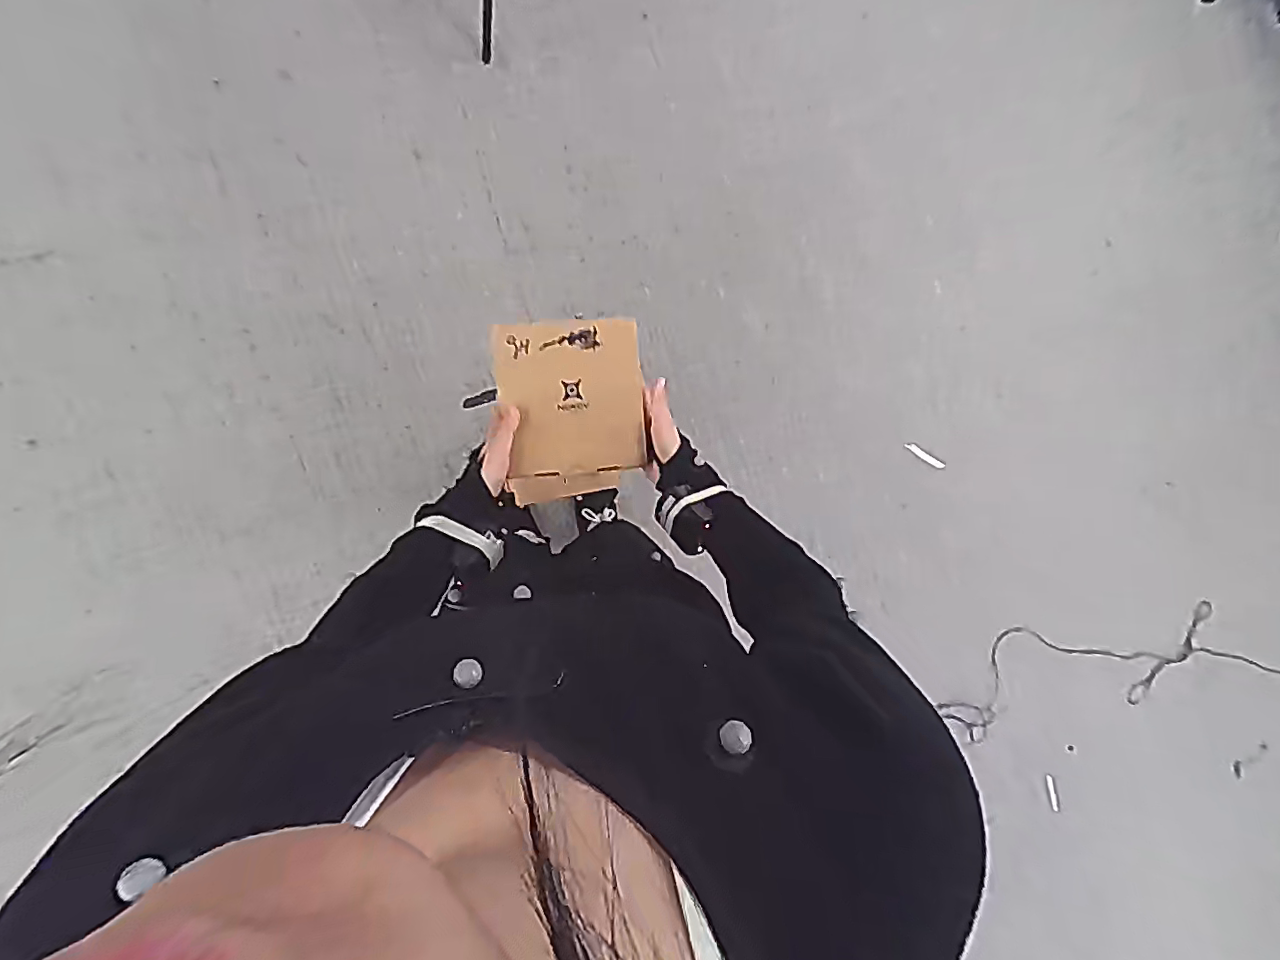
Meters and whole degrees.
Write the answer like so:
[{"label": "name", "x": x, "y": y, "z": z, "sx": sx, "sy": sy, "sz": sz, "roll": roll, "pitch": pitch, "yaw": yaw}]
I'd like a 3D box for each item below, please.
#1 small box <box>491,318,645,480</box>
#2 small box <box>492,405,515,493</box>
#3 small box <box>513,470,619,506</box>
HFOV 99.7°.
[{"label": "small box", "x": -0.091, "y": -0.105, "z": 0.696, "sx": 0.168, "sy": 0.176, "sz": 0.179, "roll": -6, "pitch": 100, "yaw": -8}, {"label": "small box", "x": -0.189, "y": -0.072, "z": 1.077, "sx": 0.179, "sy": 0.176, "sz": 0.168, "roll": -10, "pitch": 96, "yaw": -12}, {"label": "small box", "x": -0.141, "y": -0.062, "z": 0.920, "sx": 0.168, "sy": 0.176, "sz": 0.179, "roll": -10, "pitch": 97, "yaw": -11}]
